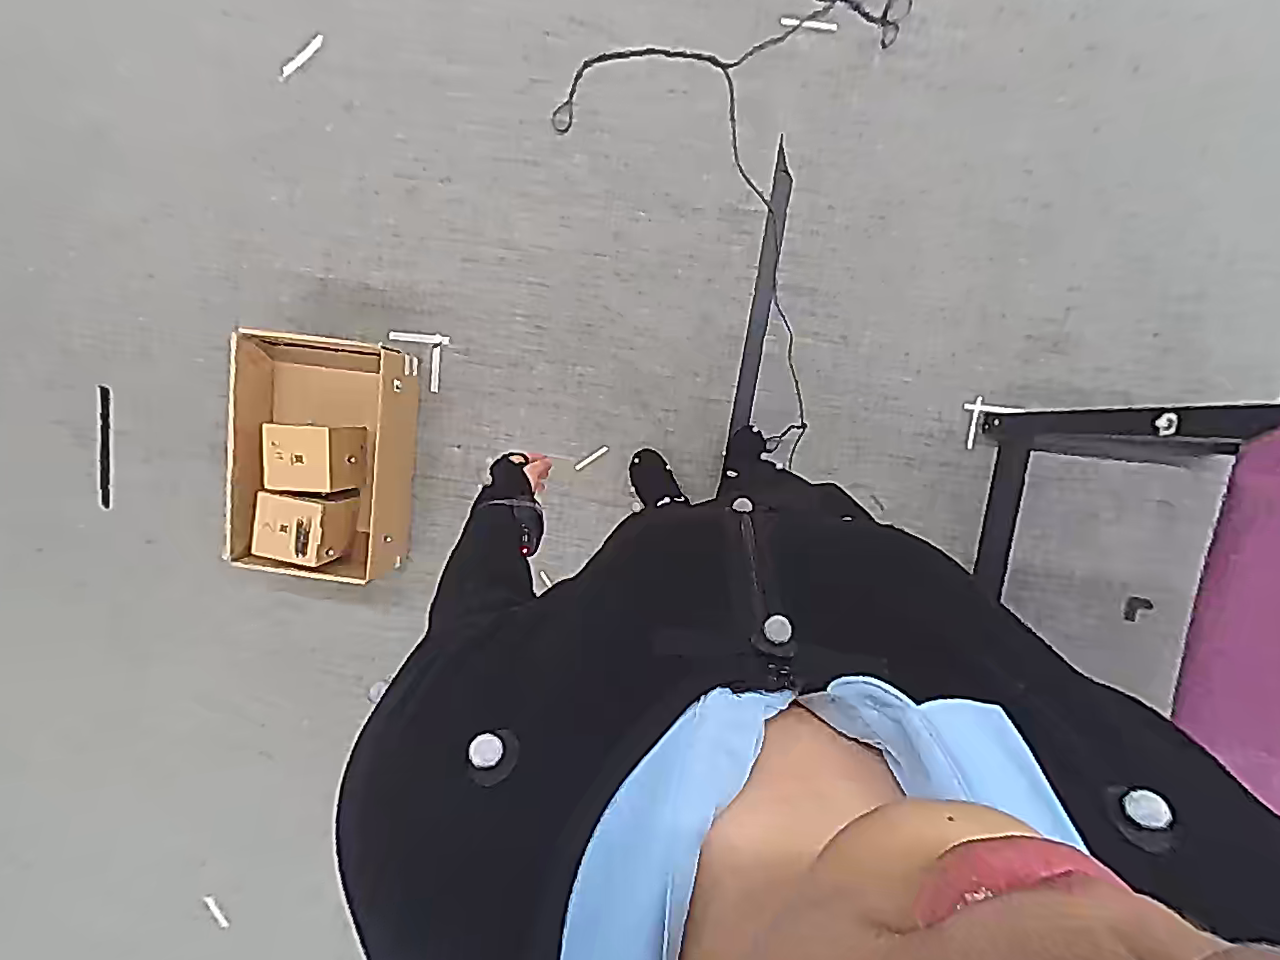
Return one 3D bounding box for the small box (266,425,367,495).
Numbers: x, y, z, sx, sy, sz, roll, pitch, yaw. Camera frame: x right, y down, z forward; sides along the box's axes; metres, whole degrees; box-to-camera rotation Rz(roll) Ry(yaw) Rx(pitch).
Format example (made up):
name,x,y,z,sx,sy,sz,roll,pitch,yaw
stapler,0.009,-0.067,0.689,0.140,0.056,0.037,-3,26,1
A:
name,x,y,z,sx,sy,sz,roll,pitch,yaw
small box,-0.846,-0.057,1.431,0.179,0.176,0.168,3,96,4
